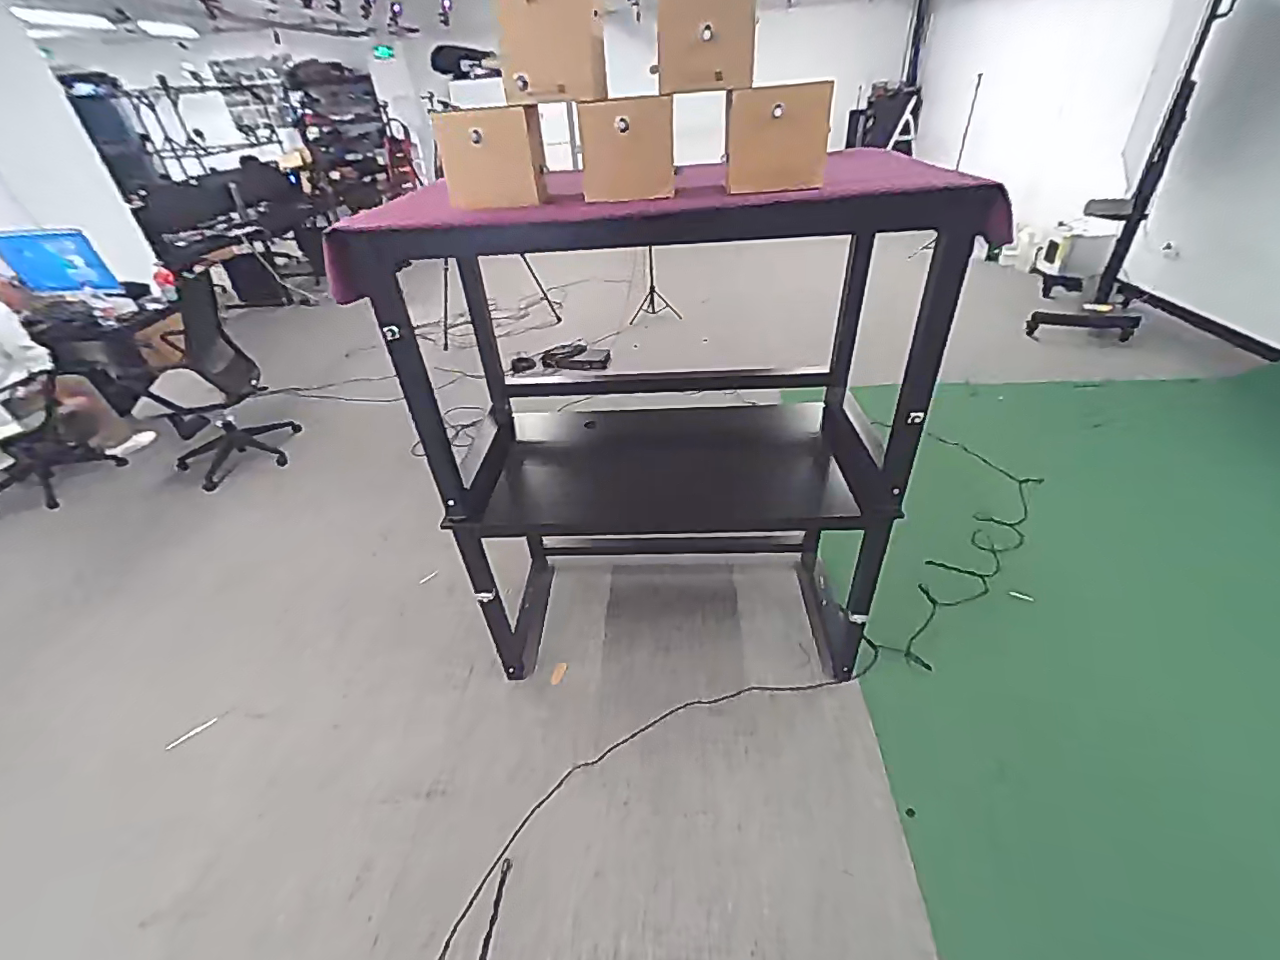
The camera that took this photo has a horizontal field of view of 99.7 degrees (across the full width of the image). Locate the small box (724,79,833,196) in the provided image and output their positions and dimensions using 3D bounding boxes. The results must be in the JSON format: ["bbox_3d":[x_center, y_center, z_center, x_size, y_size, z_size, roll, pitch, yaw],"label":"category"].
[{"bbox_3d":[0.255,-0.658,1.039,0.179,0.176,0.168,-3,36,5],"label":"small box"}]

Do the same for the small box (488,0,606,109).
[{"bbox_3d":[-0.158,-0.784,0.982,0.168,0.176,0.179,0,36,5],"label":"small box"}]

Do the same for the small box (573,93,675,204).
[{"bbox_3d":[-0.023,-0.647,1.058,0.179,0.176,0.168,-1,36,4],"label":"small box"}]

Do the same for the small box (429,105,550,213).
[{"bbox_3d":[-0.290,-0.645,1.085,0.179,0.176,0.168,-3,37,3],"label":"small box"}]

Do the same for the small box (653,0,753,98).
[{"bbox_3d":[0.110,-0.791,0.962,0.168,0.176,0.179,-2,36,4],"label":"small box"}]
